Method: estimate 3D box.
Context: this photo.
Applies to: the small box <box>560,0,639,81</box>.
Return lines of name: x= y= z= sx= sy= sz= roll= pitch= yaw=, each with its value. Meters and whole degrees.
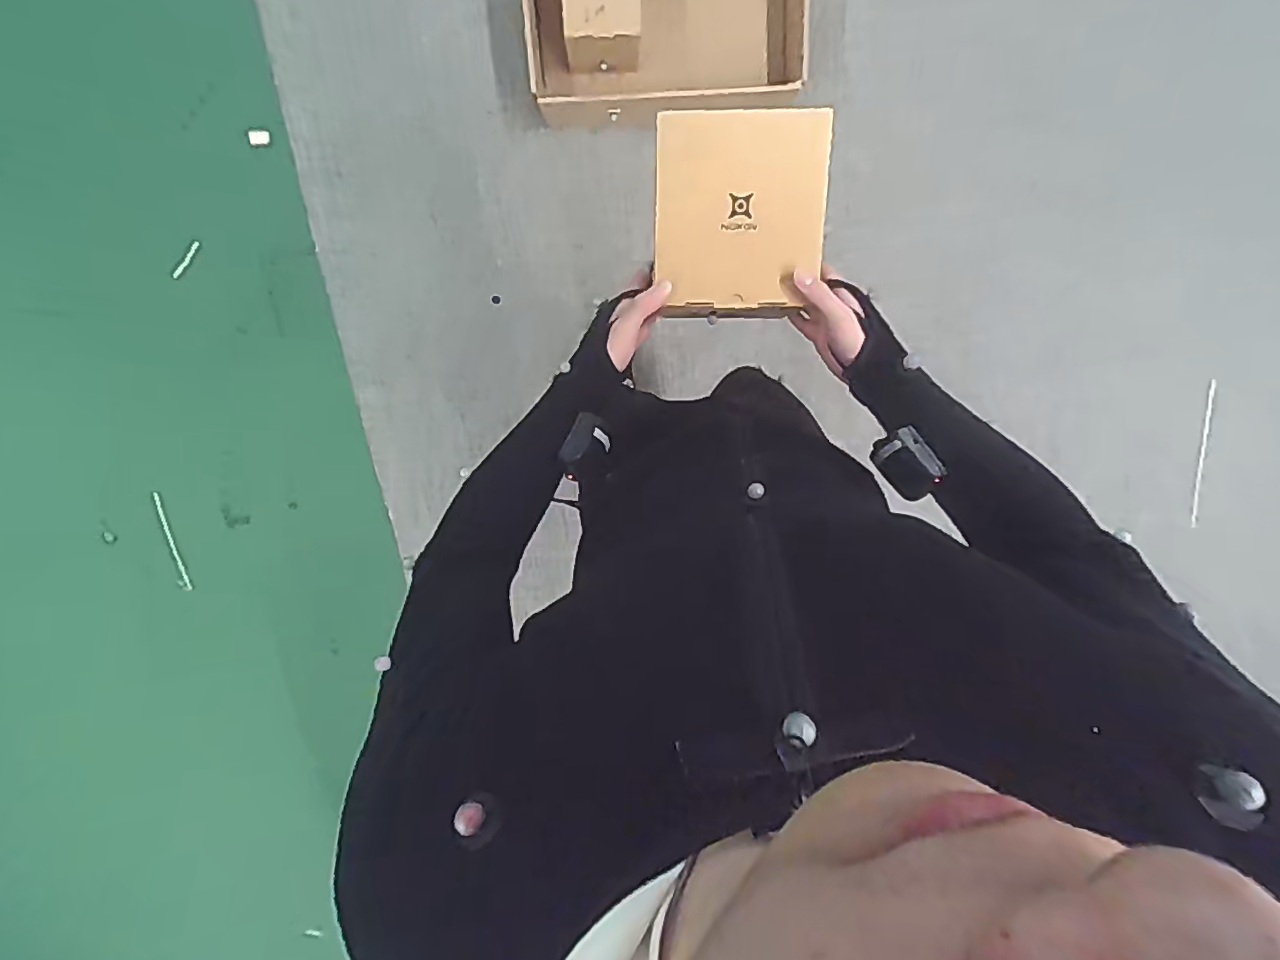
small box: x=-0.090 y=-1.030 z=1.204 sx=0.168 sy=0.176 sz=0.179 roll=-3 pitch=104 yaw=-1

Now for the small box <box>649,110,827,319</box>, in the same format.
small box: x=0.094 y=-0.276 z=0.598 sx=0.168 sy=0.176 sz=0.179 roll=1 pitch=104 yaw=2
